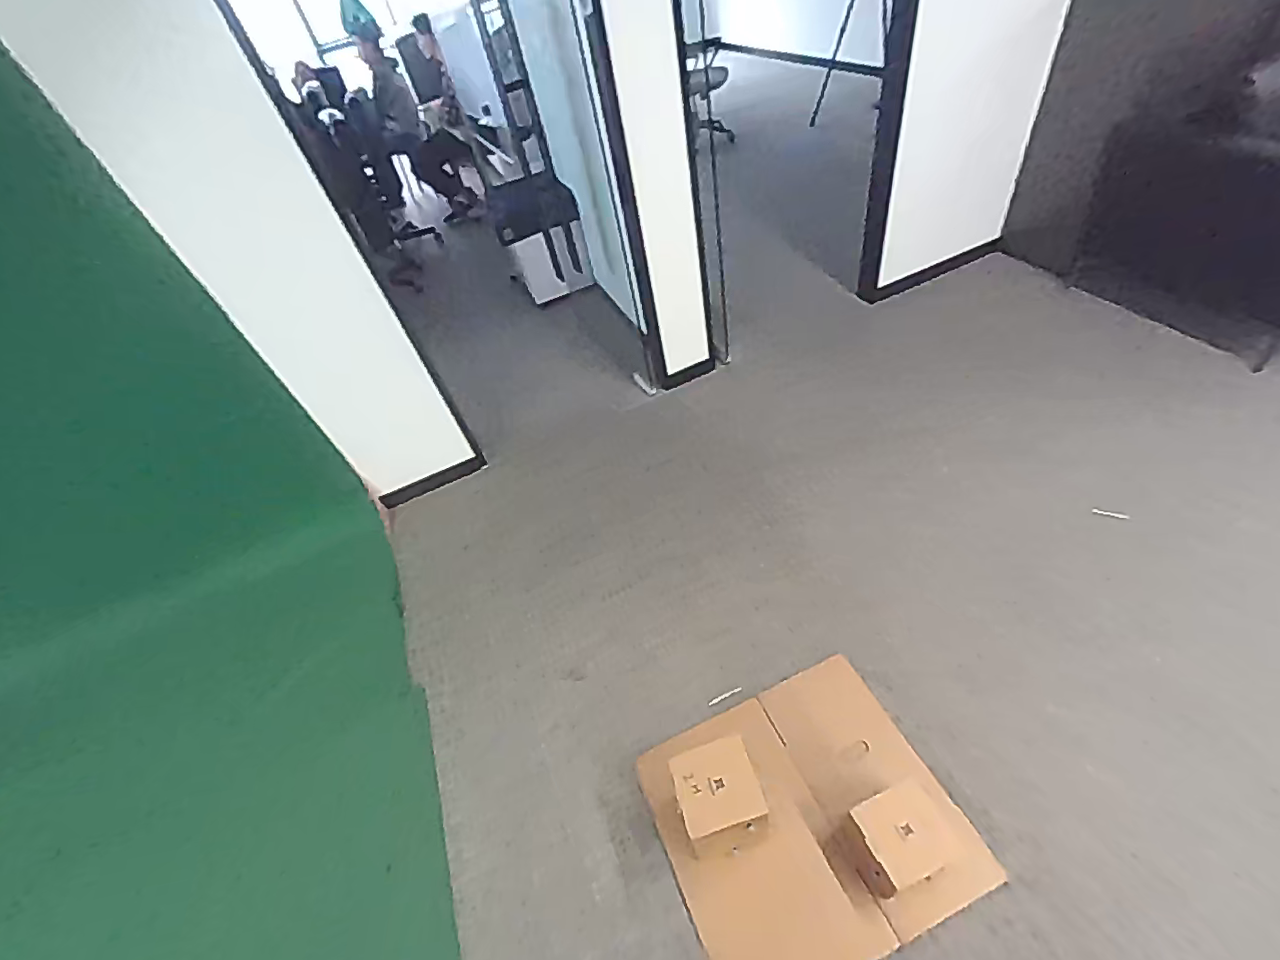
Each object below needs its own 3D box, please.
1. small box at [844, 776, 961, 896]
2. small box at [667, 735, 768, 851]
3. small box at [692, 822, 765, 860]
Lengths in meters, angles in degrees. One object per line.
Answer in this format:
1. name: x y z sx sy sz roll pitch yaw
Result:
1. small box: 0.590 0.821 1.241 0.179 0.176 0.168 -23 47 -7
2. small box: 0.173 0.706 1.216 0.179 0.176 0.168 -18 46 -3
3. small box: 0.197 0.813 1.340 0.179 0.176 0.168 -17 46 -3
